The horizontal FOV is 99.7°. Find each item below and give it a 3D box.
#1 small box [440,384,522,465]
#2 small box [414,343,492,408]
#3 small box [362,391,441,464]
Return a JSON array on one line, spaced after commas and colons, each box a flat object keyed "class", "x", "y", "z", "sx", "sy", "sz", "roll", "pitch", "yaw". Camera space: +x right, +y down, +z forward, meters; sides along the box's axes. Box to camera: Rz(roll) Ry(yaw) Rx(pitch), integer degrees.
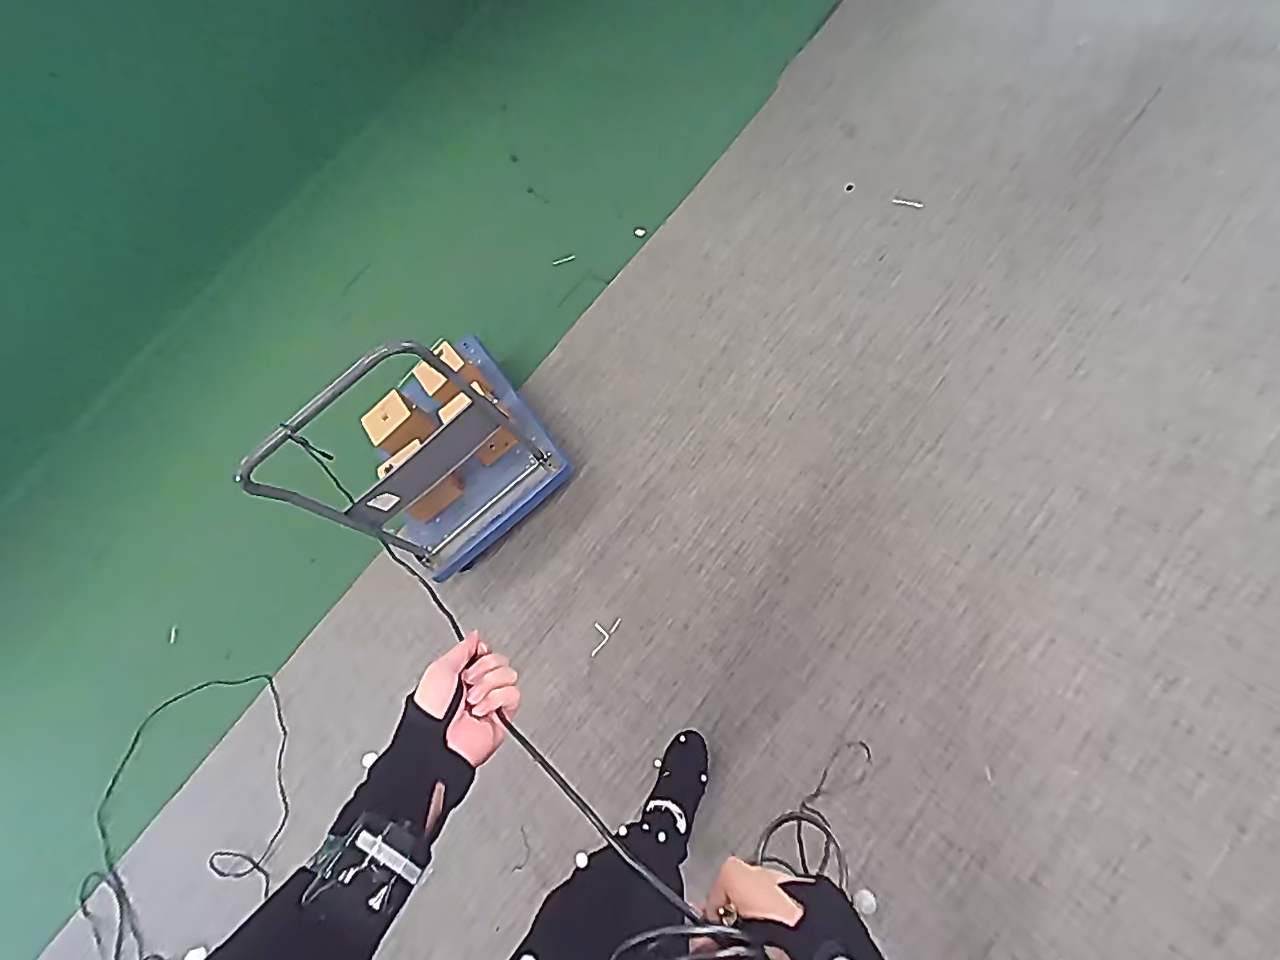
[{"class": "small box", "x": -0.528, "y": -0.179, "z": 1.800, "sx": 0.168, "sy": 0.176, "sz": 0.179, "roll": -39, "pitch": 56, "yaw": 1}, {"class": "small box", "x": -0.671, "y": -0.353, "z": 1.951, "sx": 0.168, "sy": 0.176, "sz": 0.179, "roll": -44, "pitch": 57, "yaw": 0}, {"class": "small box", "x": -0.853, "y": -0.180, "z": 1.946, "sx": 0.168, "sy": 0.176, "sz": 0.179, "roll": -43, "pitch": 56, "yaw": -2}]
